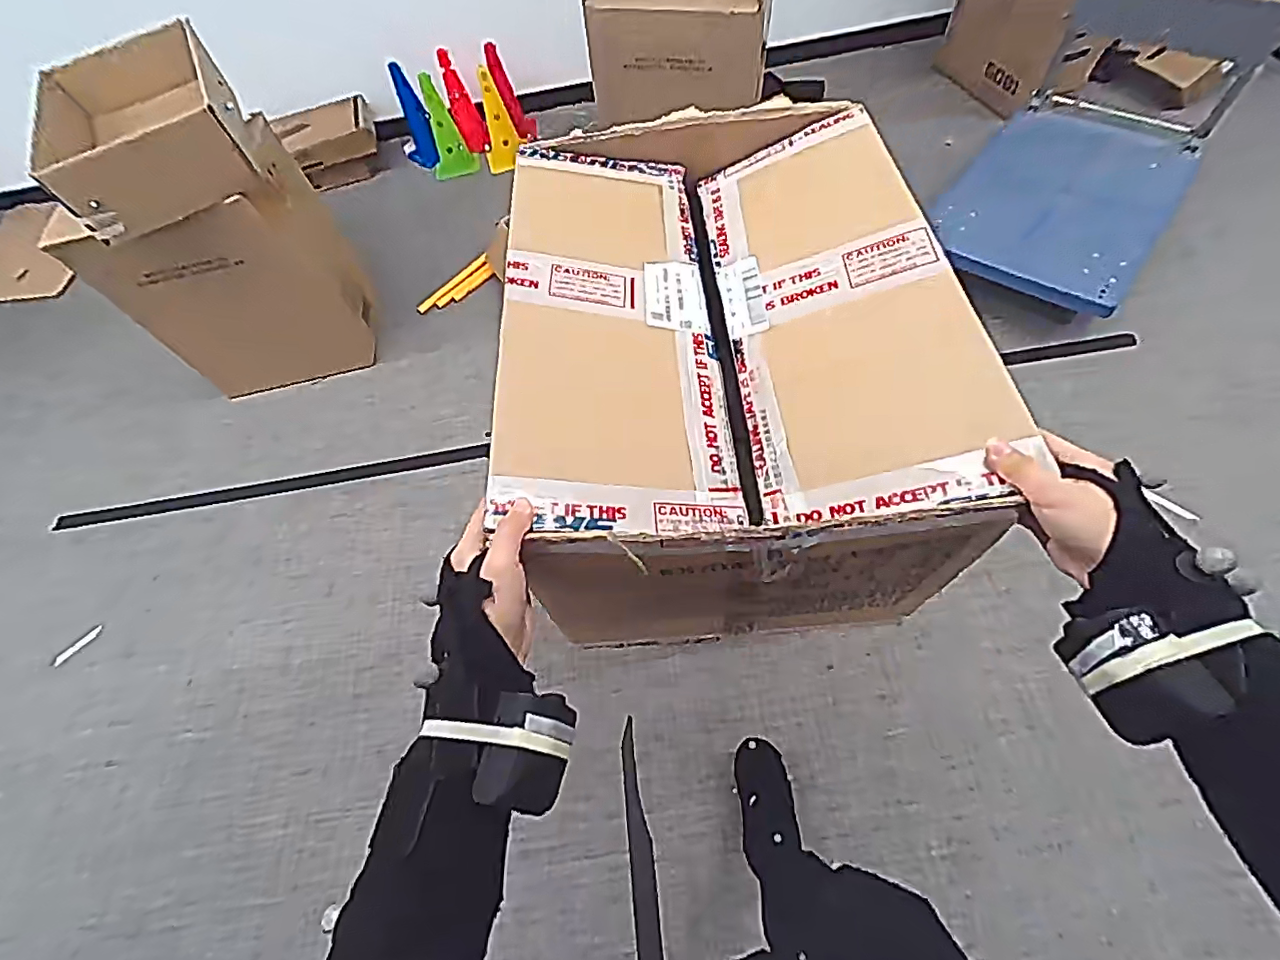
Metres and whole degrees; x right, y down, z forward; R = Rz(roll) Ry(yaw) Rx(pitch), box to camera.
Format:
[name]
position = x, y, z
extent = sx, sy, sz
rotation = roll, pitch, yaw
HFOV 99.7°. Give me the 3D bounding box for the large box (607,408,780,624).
[large box]
position = 0.115, 0.095, 1.309
extent = 0.320, 0.320, 0.408
rotation = -10, 61, 2
